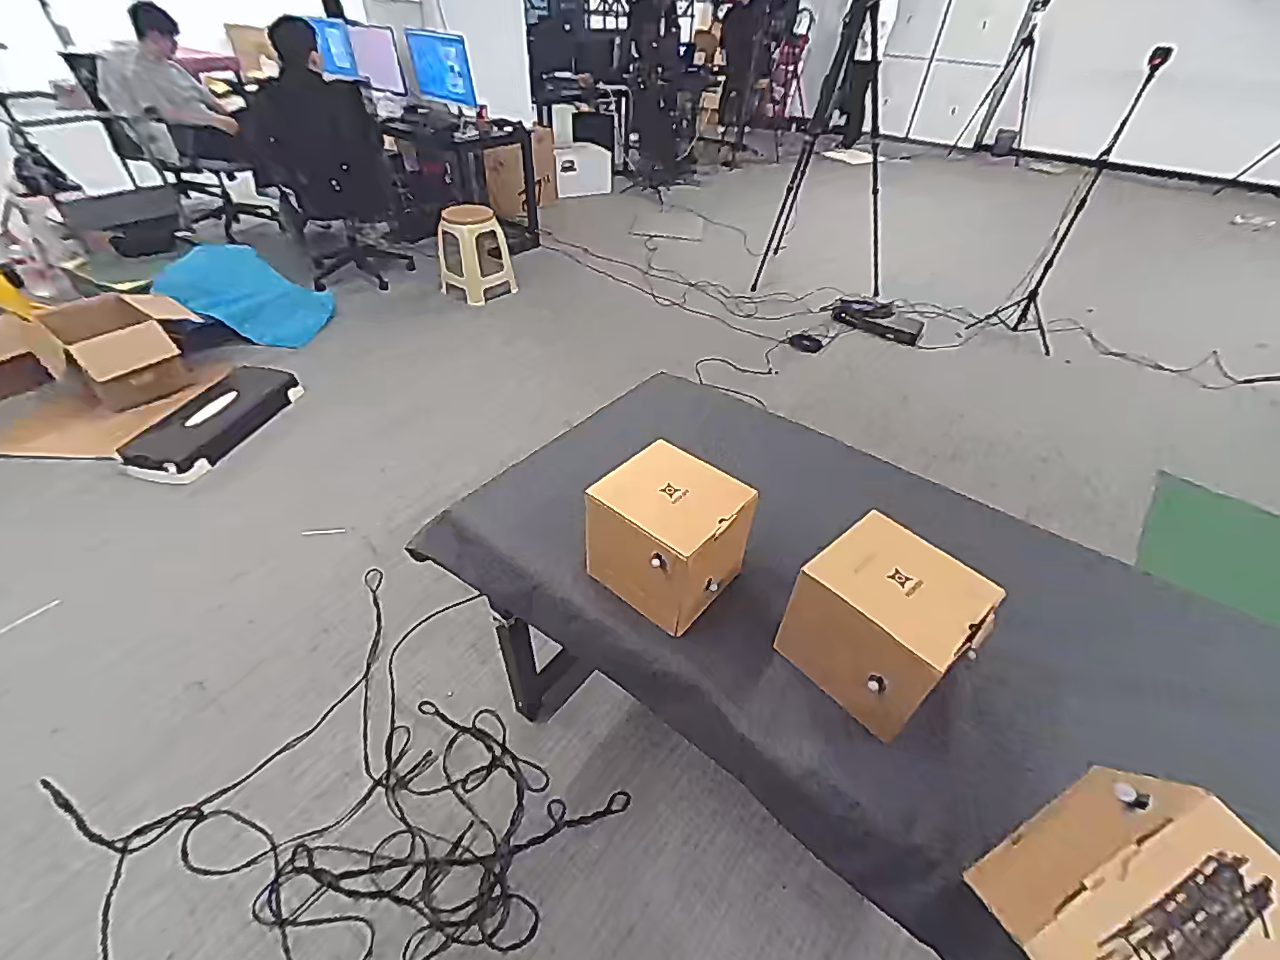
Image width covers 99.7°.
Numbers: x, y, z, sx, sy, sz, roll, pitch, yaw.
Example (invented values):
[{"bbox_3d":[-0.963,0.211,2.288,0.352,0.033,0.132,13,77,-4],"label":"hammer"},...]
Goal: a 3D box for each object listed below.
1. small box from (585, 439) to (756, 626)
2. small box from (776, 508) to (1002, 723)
[{"bbox_3d":[0.037,0.074,0.779,0.179,0.176,0.168,31,47,27],"label":"small box"},{"bbox_3d":[0.299,0.173,0.680,0.168,0.176,0.179,-28,49,-32],"label":"small box"}]
